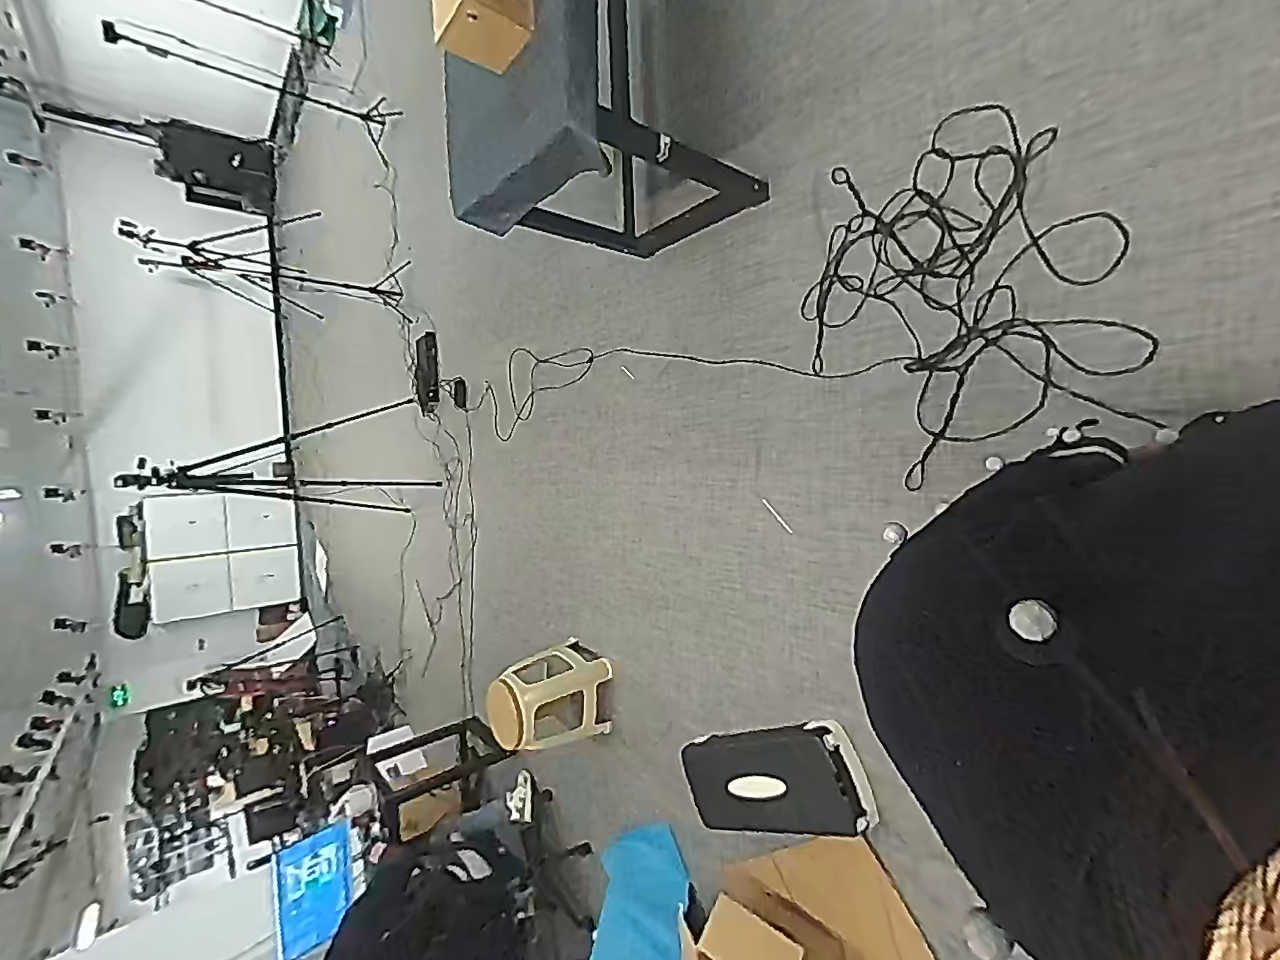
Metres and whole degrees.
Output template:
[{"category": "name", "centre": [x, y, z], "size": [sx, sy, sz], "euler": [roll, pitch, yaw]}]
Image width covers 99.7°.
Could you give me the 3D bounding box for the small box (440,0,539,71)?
[{"category": "small box", "centre": [-0.347, -1.096, 1.242], "size": [0.179, 0.176, 0.168], "euler": [1, 94, 50]}]
